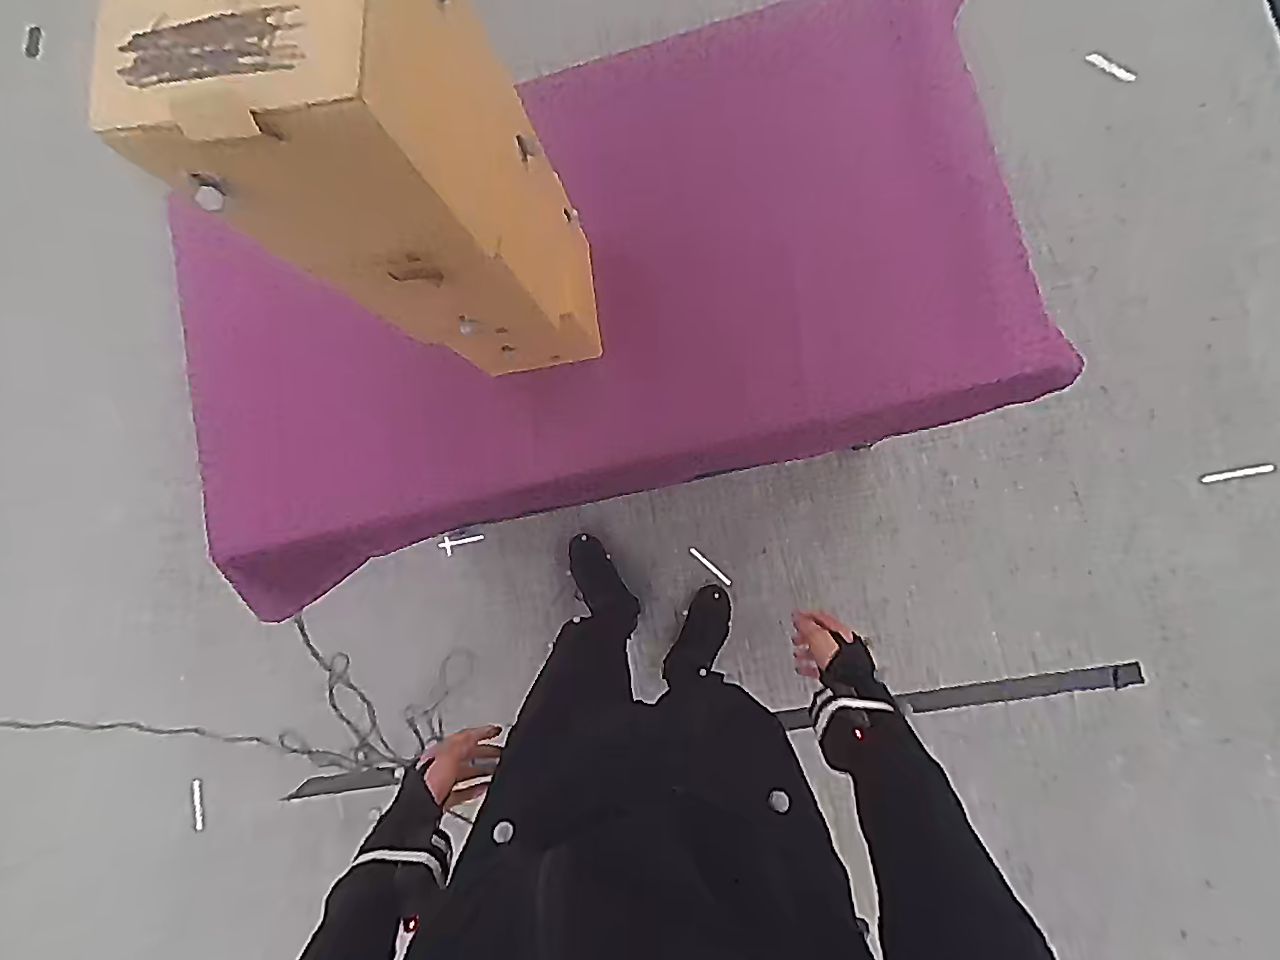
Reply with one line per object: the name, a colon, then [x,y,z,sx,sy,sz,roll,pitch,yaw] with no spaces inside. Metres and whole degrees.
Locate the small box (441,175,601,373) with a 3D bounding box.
small box: [-0.153,-0.249,0.702,0.168,0.176,0.179,-8,82,7]

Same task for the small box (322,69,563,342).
small box: [-0.179,-0.254,0.539,0.168,0.176,0.179,-2,84,8]
